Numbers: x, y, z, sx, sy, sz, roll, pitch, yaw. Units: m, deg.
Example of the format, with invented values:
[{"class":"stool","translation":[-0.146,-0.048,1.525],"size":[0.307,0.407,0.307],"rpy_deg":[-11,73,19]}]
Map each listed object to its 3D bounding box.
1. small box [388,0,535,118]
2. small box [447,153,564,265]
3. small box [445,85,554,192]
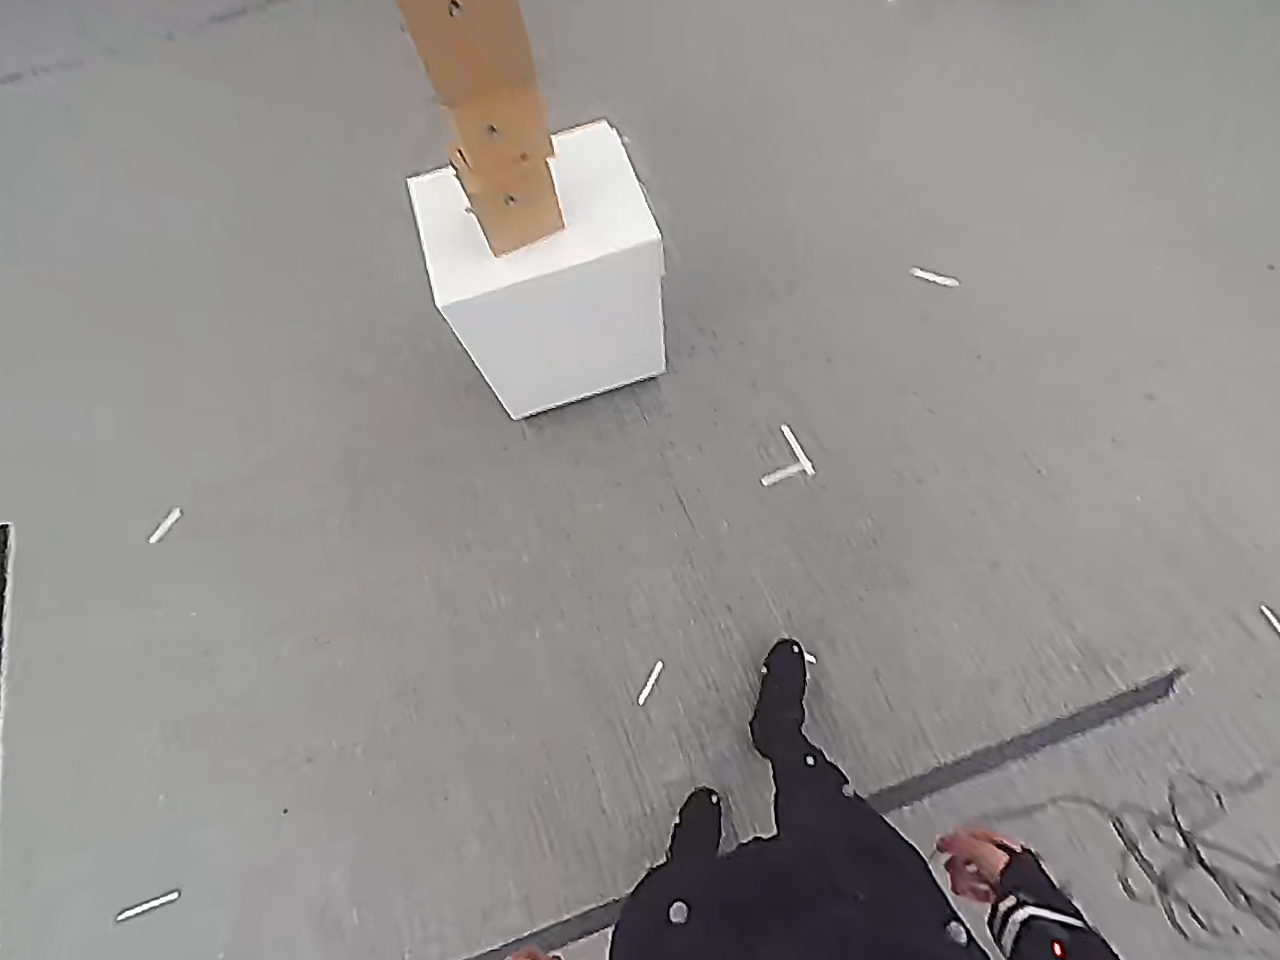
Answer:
[{"class":"small box","translation":[-0.290,-0.732,0.873],"size":[0.179,0.176,0.168],"rpy_deg":[-22,69,-4]},{"class":"small box","translation":[-0.285,-0.605,1.176],"size":[0.179,0.176,0.168],"rpy_deg":[-25,70,-6]},{"class":"small box","translation":[-0.280,-0.686,1.032],"size":[0.168,0.176,0.179],"rpy_deg":[-24,69,-5]}]
